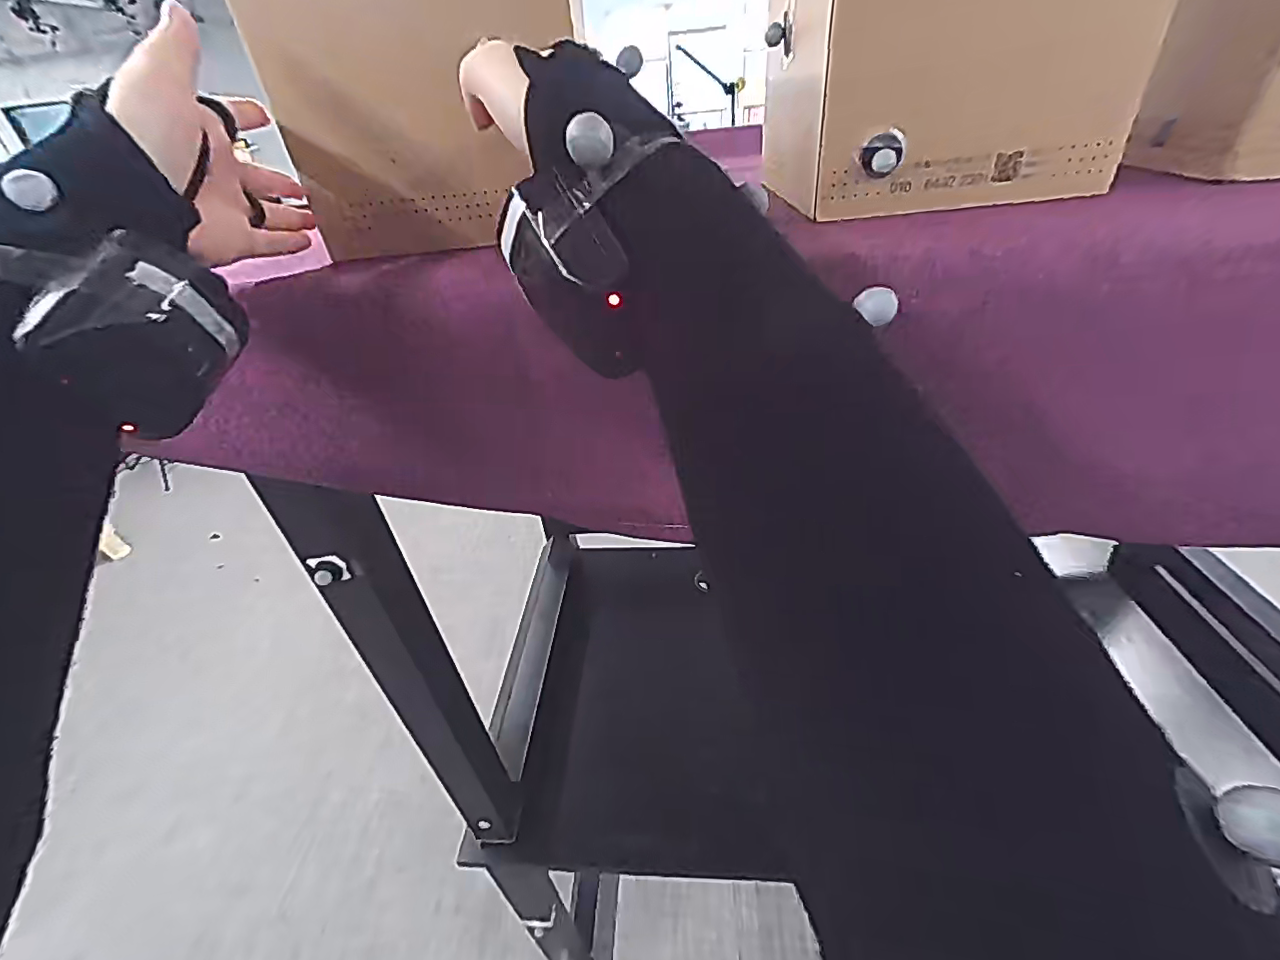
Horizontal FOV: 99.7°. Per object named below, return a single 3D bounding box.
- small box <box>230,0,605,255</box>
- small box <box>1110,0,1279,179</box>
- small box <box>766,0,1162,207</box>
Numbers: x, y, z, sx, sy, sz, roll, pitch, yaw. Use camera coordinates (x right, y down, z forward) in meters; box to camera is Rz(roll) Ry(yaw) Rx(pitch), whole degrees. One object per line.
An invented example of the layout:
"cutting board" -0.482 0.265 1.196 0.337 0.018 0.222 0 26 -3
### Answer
"small box" -0.119 -0.259 0.358 0.179 0.176 0.168 -5 35 2
"small box" 0.406 -0.276 0.299 0.179 0.176 0.168 1 35 9
"small box" 0.175 -0.271 0.328 0.168 0.176 0.179 -4 34 3
